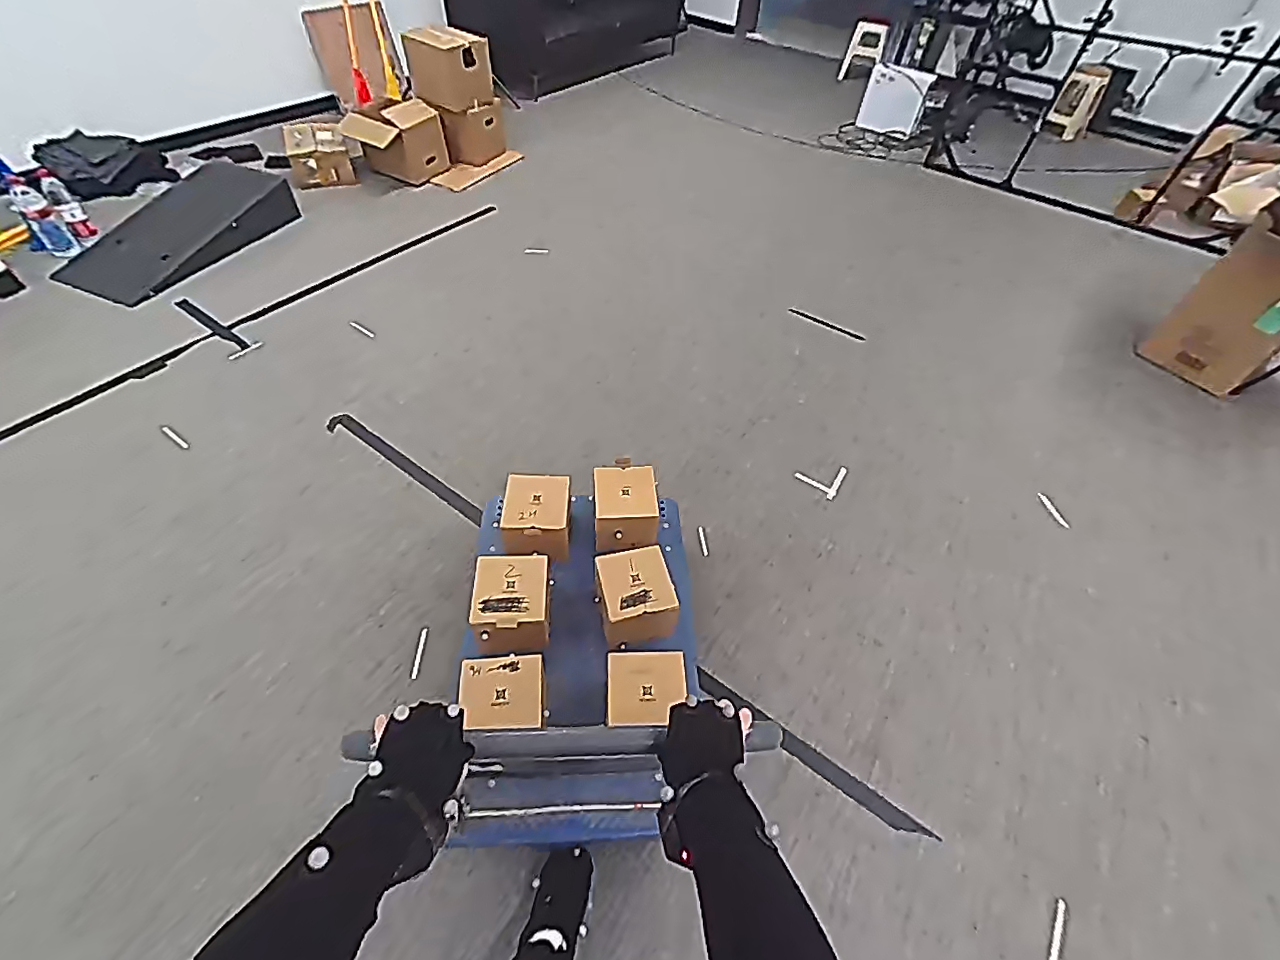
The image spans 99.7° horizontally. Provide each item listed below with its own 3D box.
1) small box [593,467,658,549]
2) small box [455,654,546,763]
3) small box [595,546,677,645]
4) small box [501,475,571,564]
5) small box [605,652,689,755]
[{"bbox_3d":[-0.046,0.085,1.518,0.168,0.176,0.179,-2,50,-7],"label":"small box"},{"bbox_3d":[-0.287,0.490,1.149,0.168,0.176,0.179,-1,51,-8],"label":"small box"},{"bbox_3d":[-0.016,0.293,1.344,0.168,0.176,0.179,-9,51,-13],"label":"small box"},{"bbox_3d":[-0.275,0.108,1.471,0.168,0.176,0.179,2,51,-4],"label":"small box"},{"bbox_3d":[0.009,0.492,1.181,0.168,0.176,0.179,2,49,-5],"label":"small box"}]
